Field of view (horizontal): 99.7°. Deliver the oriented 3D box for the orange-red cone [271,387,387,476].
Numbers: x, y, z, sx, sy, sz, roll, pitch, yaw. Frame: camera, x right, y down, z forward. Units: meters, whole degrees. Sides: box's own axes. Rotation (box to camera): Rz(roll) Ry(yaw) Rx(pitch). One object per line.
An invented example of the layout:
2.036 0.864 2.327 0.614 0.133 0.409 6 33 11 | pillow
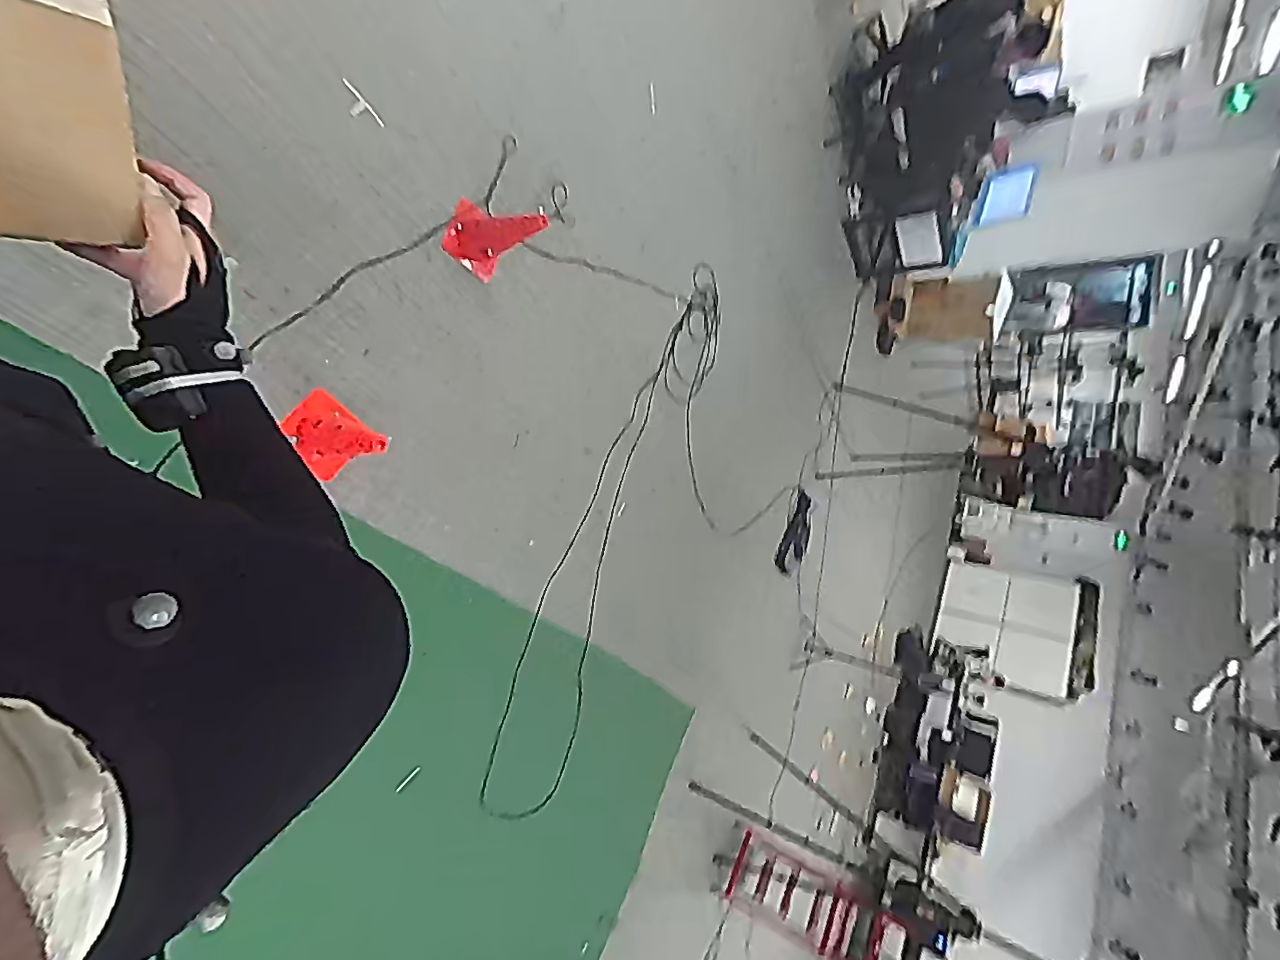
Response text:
-0.771 -0.113 1.429 0.198 0.360 0.199 -59 137 -25 | orange-red cone
